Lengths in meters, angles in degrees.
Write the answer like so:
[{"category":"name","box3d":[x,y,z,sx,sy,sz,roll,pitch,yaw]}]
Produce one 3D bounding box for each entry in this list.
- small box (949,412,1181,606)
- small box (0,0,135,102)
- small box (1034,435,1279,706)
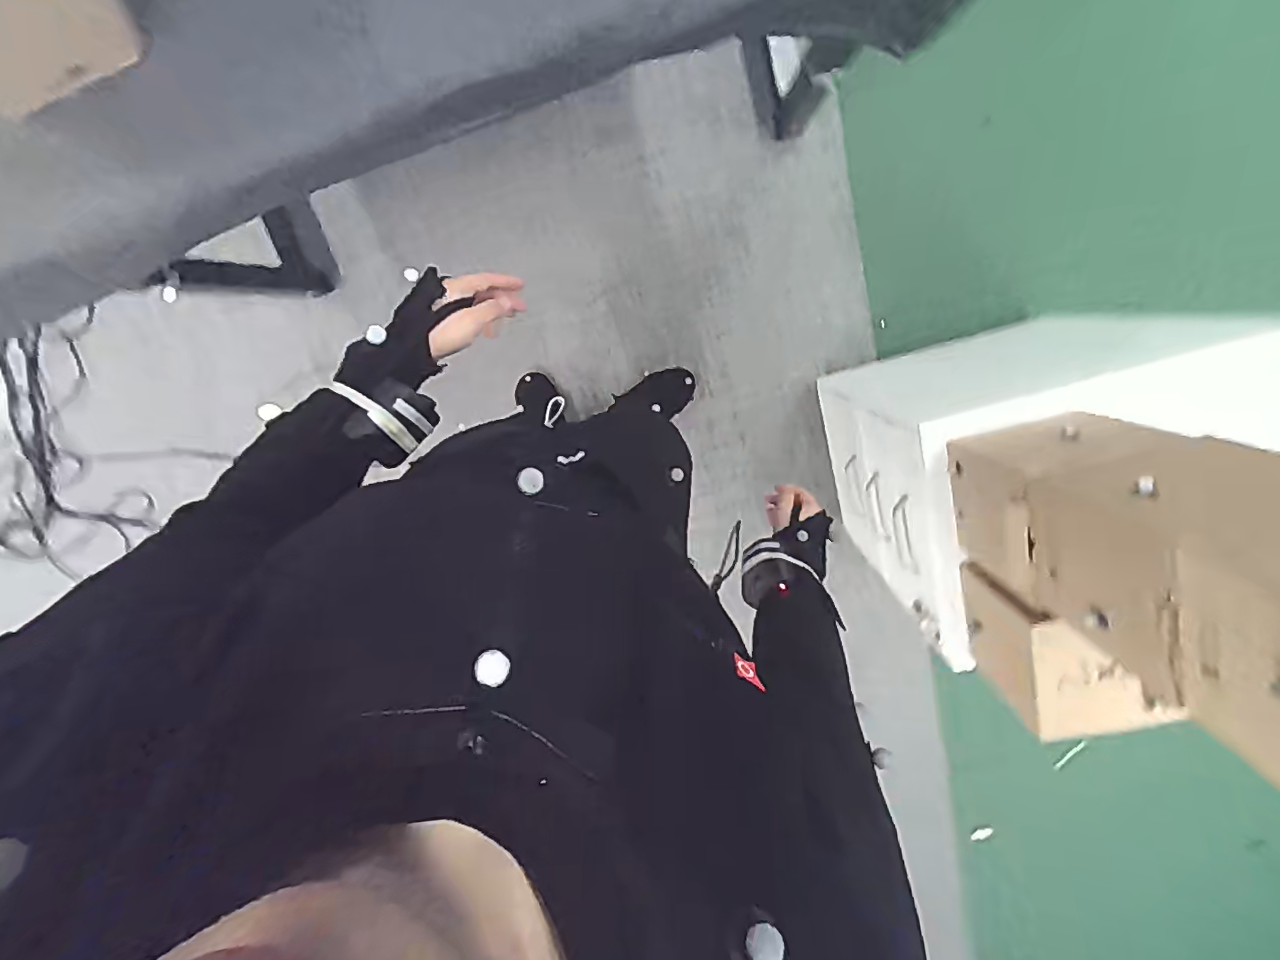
[{"category":"small box","box3d":[0.504,0.026,0.661,0.179,0.176,0.168,-14,107,6]},{"category":"small box","box3d":[-0.582,-0.450,0.429,0.168,0.176,0.179,-16,105,7]},{"category":"small box","box3d":[0.506,0.072,0.505,0.179,0.176,0.168,-17,108,6]}]
